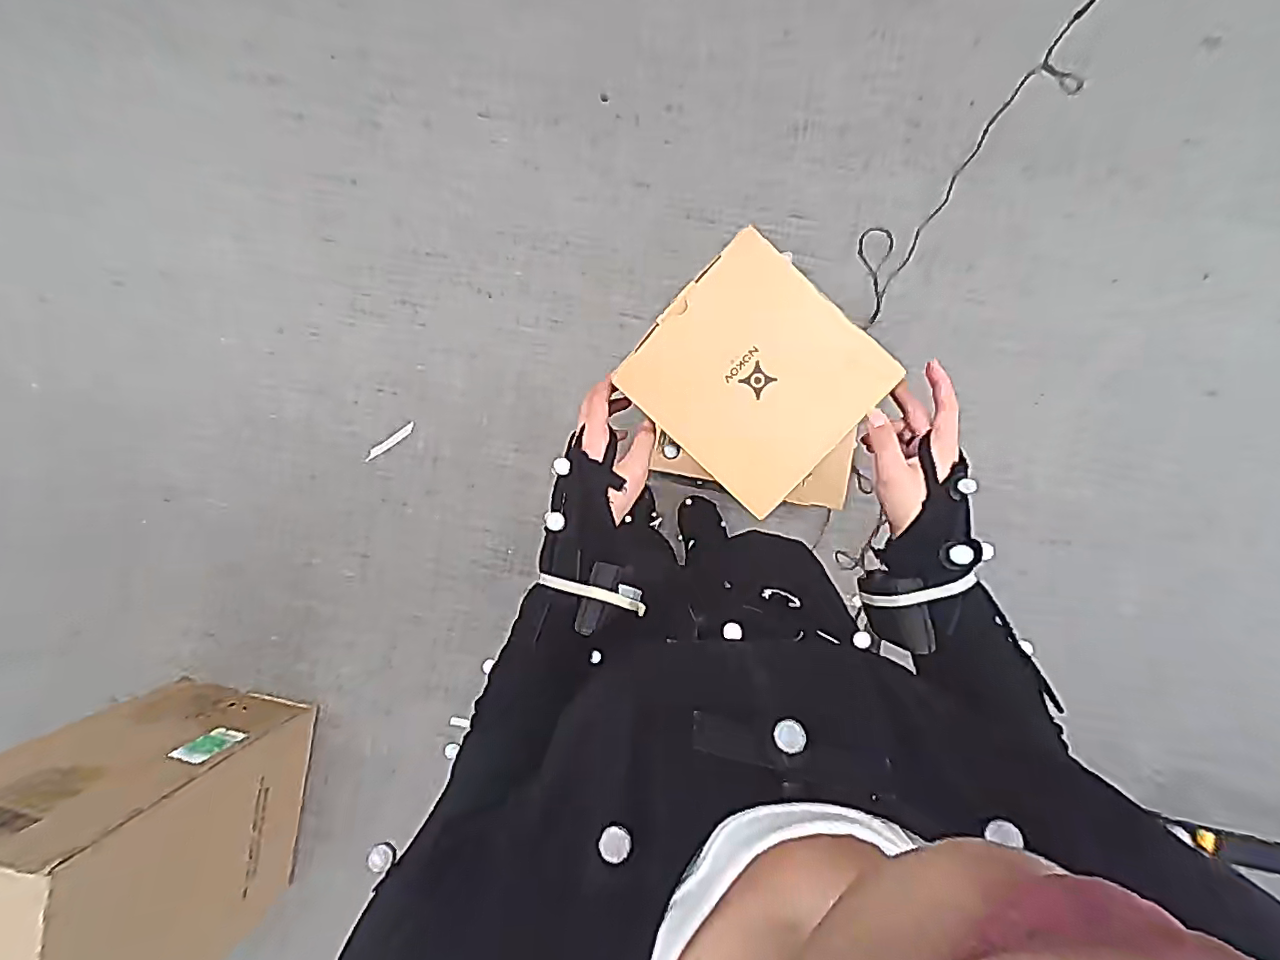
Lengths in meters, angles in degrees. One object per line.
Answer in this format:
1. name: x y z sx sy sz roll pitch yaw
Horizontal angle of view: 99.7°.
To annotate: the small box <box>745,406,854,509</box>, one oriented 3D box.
1. small box: 0.313 -0.044 1.099 0.168 0.176 0.179 10 93 5
